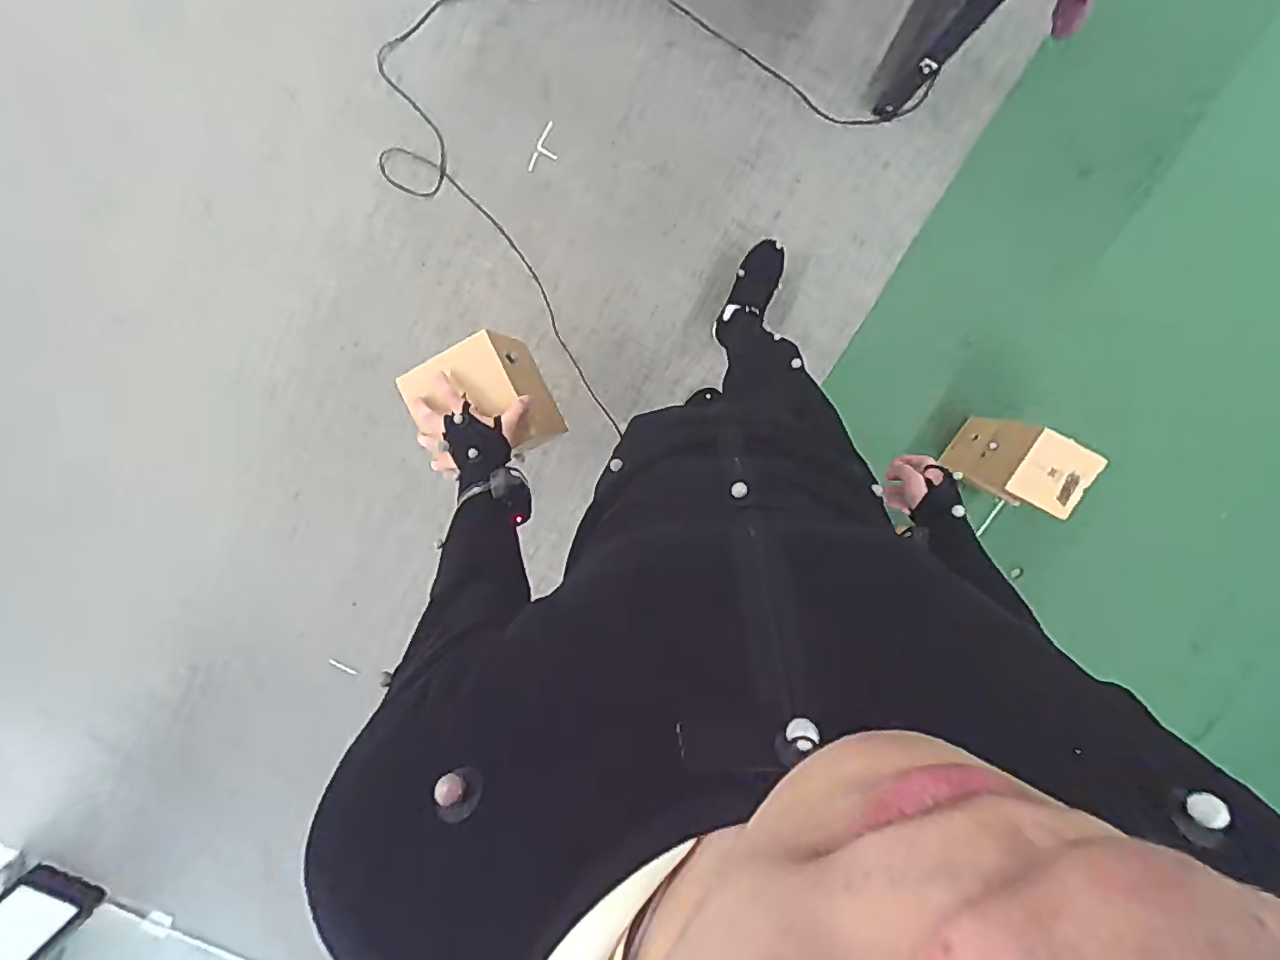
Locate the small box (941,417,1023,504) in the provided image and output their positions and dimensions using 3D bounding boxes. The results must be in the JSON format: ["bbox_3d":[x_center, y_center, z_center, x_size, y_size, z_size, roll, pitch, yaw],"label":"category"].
[{"bbox_3d":[0.978,-0.061,1.490,0.179,0.176,0.168,29,103,-5],"label":"small box"}]

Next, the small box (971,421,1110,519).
[{"bbox_3d":[0.970,-0.032,1.327,0.179,0.176,0.168,27,103,-3],"label":"small box"}]

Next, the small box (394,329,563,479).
[{"bbox_3d":[-0.250,-0.118,0.878,0.168,0.176,0.179,-26,92,12],"label":"small box"}]
